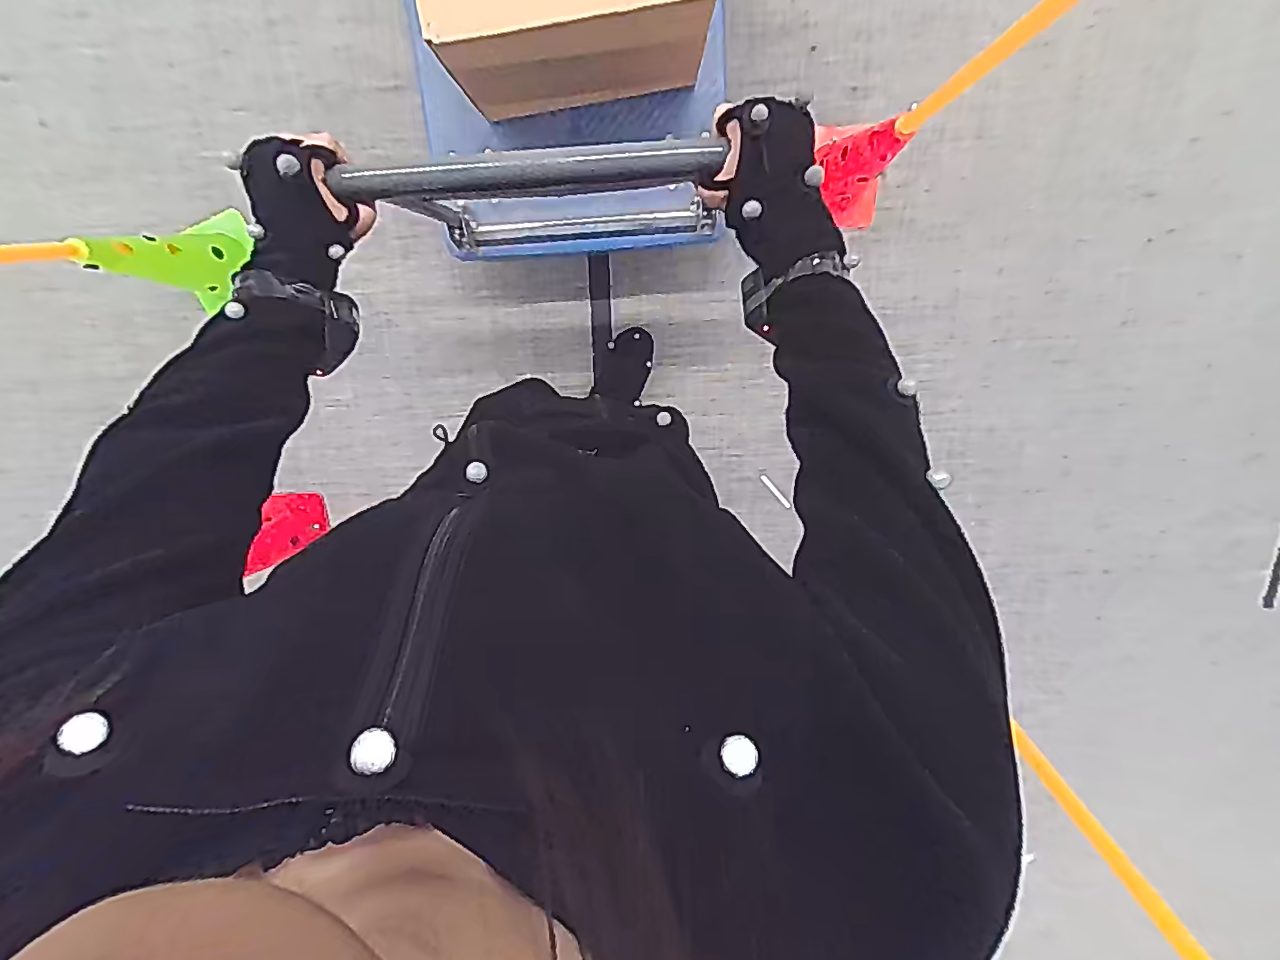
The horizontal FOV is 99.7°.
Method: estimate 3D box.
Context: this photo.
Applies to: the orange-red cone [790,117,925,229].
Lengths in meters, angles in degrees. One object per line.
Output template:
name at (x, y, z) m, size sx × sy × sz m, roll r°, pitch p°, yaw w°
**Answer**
orange-red cone at (0.446, -0.622, 1.043) m, size 0.199 × 0.360 × 0.198 m, roll 4°, pitch 107°, yaw -2°
